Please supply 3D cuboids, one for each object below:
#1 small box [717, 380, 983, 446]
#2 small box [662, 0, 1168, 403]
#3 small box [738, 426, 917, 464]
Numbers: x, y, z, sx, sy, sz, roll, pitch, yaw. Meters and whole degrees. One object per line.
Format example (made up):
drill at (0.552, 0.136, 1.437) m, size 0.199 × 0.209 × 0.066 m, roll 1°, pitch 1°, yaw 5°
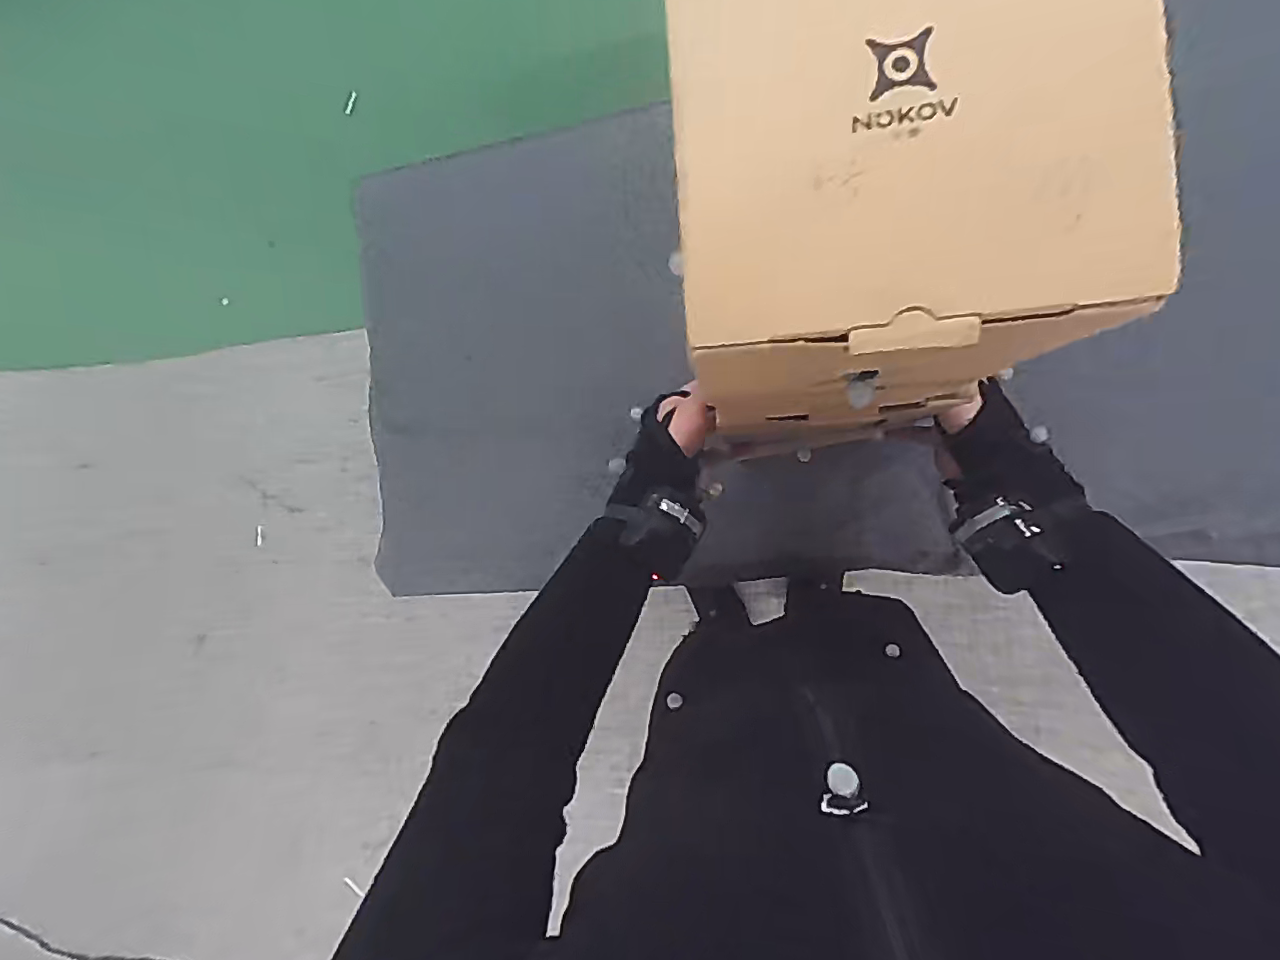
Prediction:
small box at (0.144, -0.122, 0.433) m, size 0.168 × 0.176 × 0.179 m, roll -6°, pitch 87°, yaw 11°
small box at (0.107, -0.135, 0.274) m, size 0.168 × 0.176 × 0.179 m, roll -4°, pitch 90°, yaw 11°
small box at (0.179, -0.118, 0.591) m, size 0.168 × 0.176 × 0.179 m, roll -10°, pitch 88°, yaw 12°
